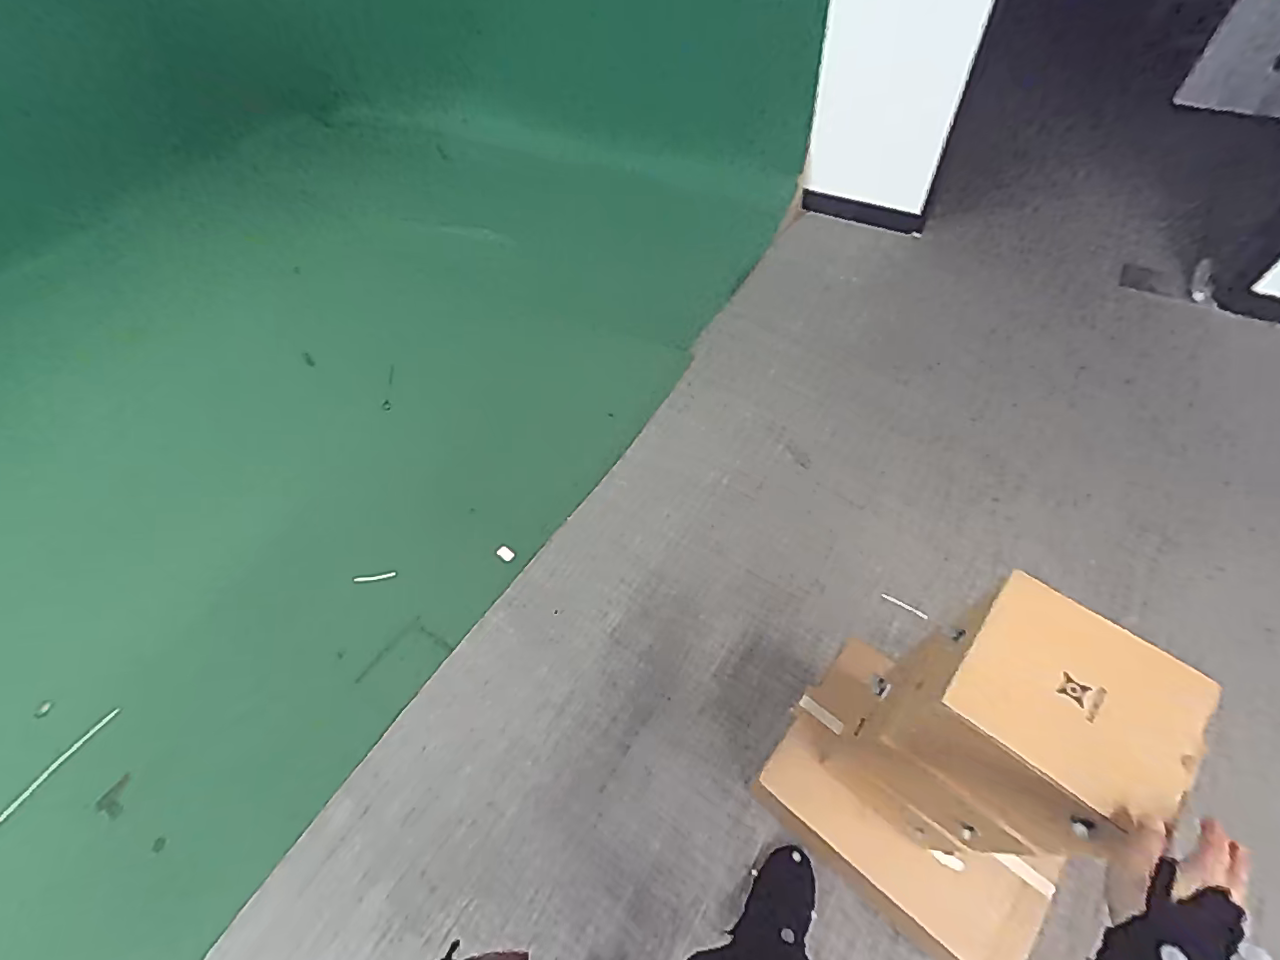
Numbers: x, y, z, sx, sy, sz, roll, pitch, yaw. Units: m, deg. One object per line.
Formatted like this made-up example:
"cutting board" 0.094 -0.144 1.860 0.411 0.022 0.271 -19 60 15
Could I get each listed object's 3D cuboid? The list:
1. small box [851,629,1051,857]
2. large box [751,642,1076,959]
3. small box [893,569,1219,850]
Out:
"small box" 0.390 0.320 0.664 0.179 0.176 0.168 31 64 24
"large box" 0.460 0.572 0.979 0.408 0.320 0.320 34 68 25
"small box" 0.383 0.227 0.532 0.179 0.176 0.168 34 66 24
